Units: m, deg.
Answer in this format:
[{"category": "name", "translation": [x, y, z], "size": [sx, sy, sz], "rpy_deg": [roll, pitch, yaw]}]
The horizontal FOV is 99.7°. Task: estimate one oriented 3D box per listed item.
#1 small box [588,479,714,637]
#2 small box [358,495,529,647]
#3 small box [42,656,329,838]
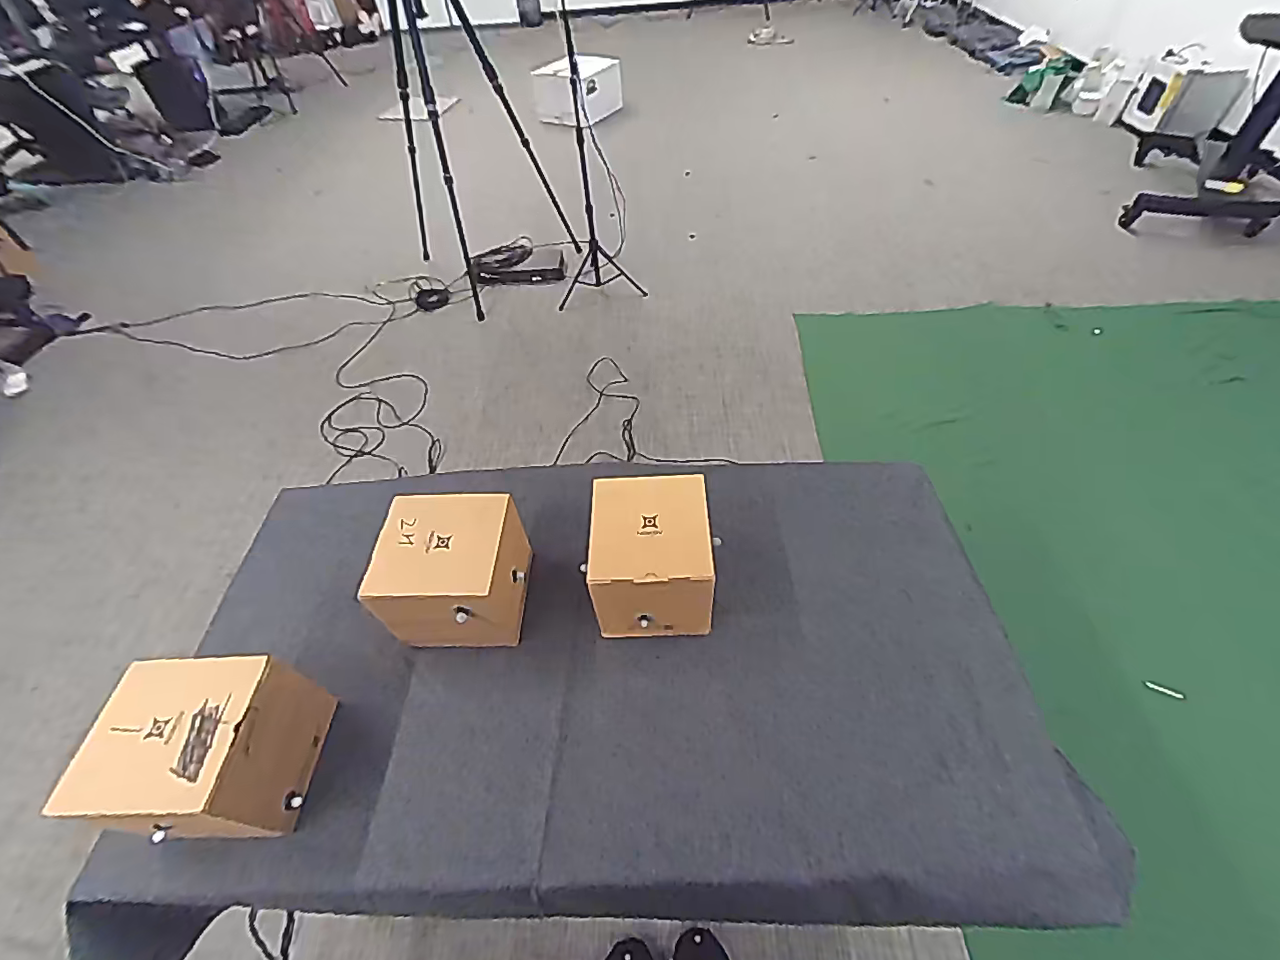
[{"category": "small box", "translation": [0.017, 0.117, 0.808], "size": [0.168, 0.176, 0.179], "rpy_deg": [-2, 51, 2]}, {"category": "small box", "translation": [-0.272, 0.138, 0.804], "size": [0.179, 0.176, 0.168], "rpy_deg": [0, 51, 3]}, {"category": "small box", "translation": [-0.523, 0.327, 0.661], "size": [0.179, 0.176, 0.168], "rpy_deg": [-2, 49, 2]}]
